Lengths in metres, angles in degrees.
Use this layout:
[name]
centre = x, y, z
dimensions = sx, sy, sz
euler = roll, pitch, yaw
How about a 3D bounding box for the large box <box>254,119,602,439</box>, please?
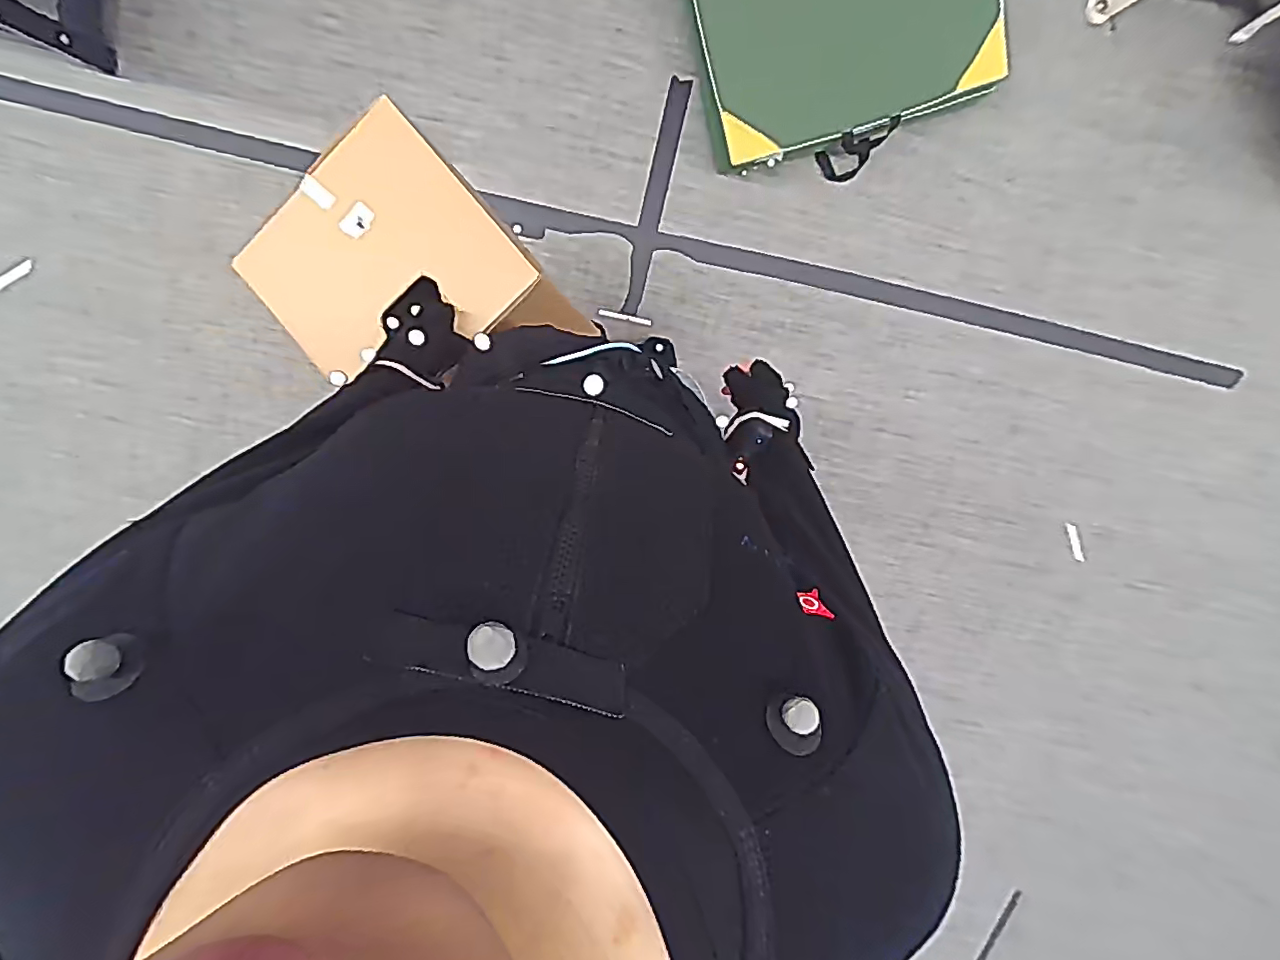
[large box]
centre = -0.310, -0.288, 0.916
dimensions = 0.320, 0.408, 0.320
euler = -40, 90, 9
